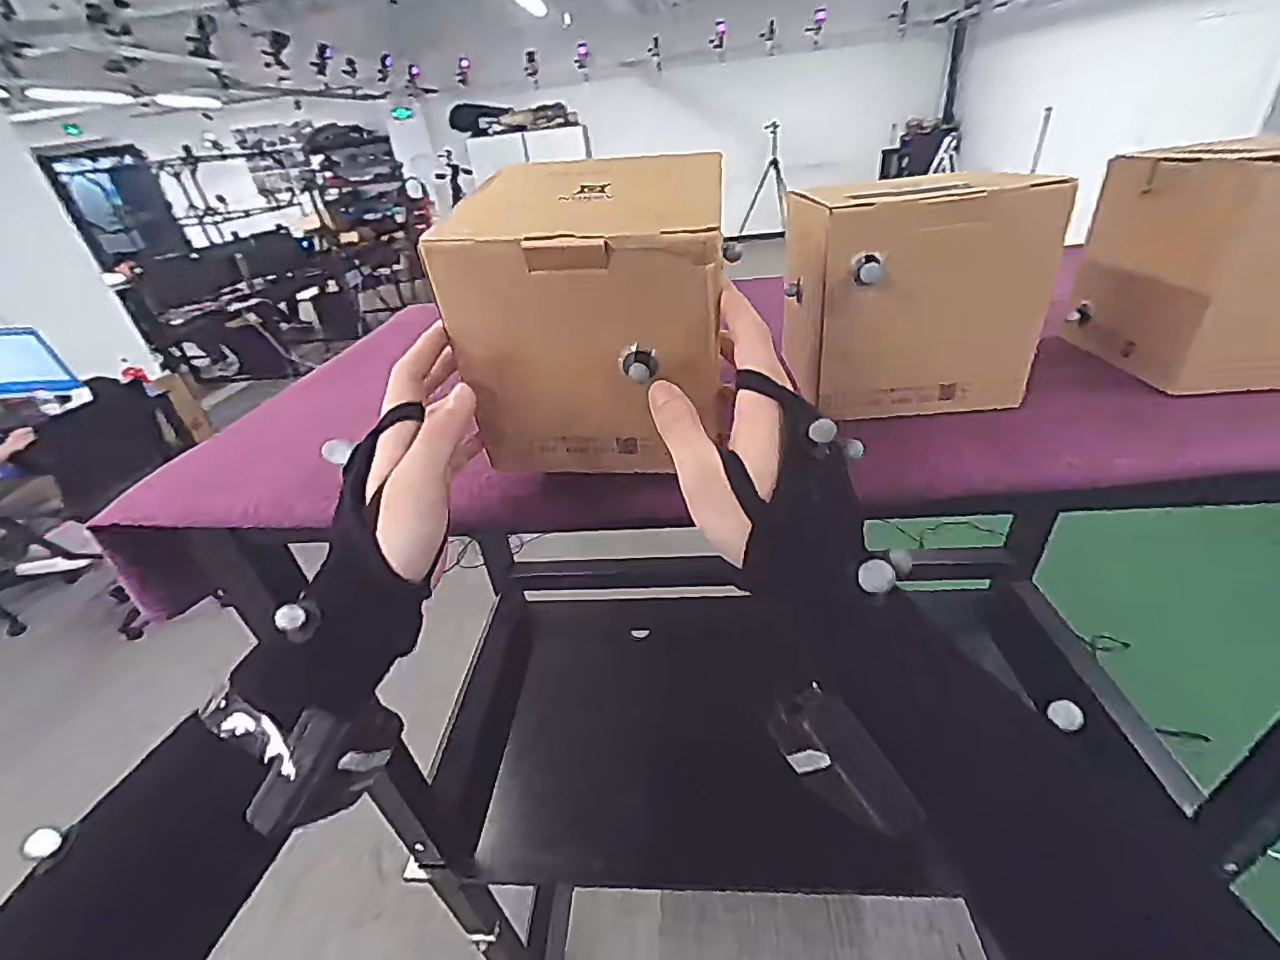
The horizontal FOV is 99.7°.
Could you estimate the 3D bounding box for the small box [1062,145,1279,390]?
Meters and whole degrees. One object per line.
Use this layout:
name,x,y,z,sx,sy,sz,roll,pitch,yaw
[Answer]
small box,0.511,-0.184,0.468,0.179,0.176,0.168,-2,32,6

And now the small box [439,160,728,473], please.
small box,-0.018,-0.120,0.406,0.168,0.176,0.179,1,43,7
